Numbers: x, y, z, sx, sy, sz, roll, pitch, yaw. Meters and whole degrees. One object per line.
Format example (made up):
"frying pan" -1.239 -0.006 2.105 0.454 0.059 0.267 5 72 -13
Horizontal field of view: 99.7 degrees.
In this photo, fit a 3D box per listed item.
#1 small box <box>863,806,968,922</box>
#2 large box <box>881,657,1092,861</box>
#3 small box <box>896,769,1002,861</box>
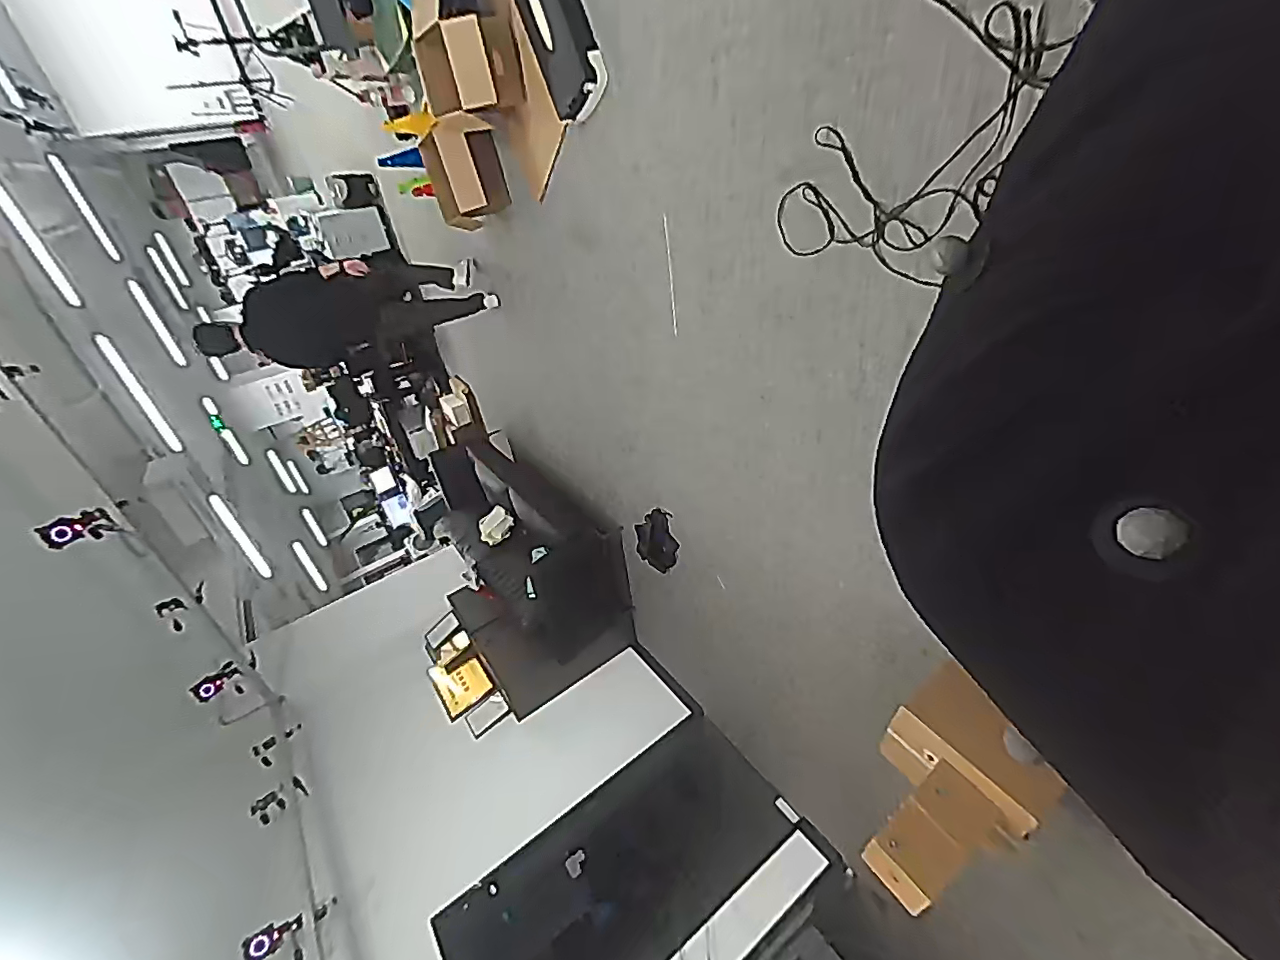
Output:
"small box" 0.747 1.039 1.471 0.179 0.176 0.168 41 148 40
"large box" 1.045 0.844 1.669 0.408 0.320 0.320 41 146 40
"small box" 0.874 0.958 1.534 0.179 0.176 0.168 40 147 38
